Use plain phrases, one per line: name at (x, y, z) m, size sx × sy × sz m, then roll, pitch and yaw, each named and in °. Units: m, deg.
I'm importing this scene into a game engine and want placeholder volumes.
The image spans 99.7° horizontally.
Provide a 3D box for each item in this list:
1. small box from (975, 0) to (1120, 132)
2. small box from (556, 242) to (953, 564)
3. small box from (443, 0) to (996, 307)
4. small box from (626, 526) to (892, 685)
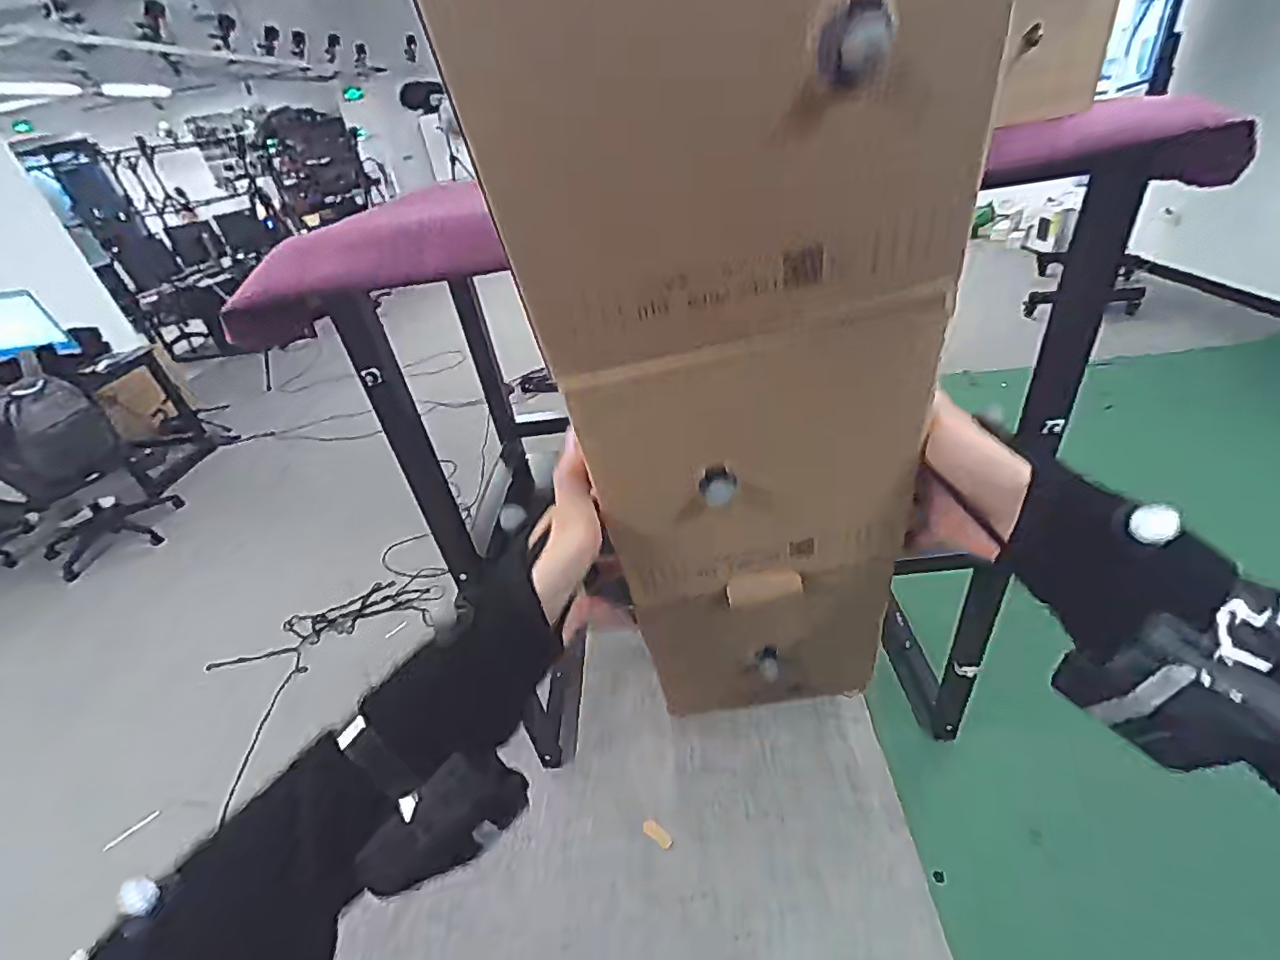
small box at (0.489, -0.579, 0.723) m, size 0.179 × 0.176 × 0.168 m, roll -7°, pitch 35°, yaw 6°
small box at (0.054, -0.066, 0.329) m, size 0.168 × 0.176 × 0.179 m, roll -12°, pitch 41°, yaw 3°
small box at (0.025, -0.185, 0.221) m, size 0.168 × 0.176 × 0.179 m, roll -10°, pitch 41°, yaw 5°
small box at (0.084, 0.049, 0.442) m, size 0.168 × 0.176 × 0.179 m, roll -10°, pitch 42°, yaw 5°
